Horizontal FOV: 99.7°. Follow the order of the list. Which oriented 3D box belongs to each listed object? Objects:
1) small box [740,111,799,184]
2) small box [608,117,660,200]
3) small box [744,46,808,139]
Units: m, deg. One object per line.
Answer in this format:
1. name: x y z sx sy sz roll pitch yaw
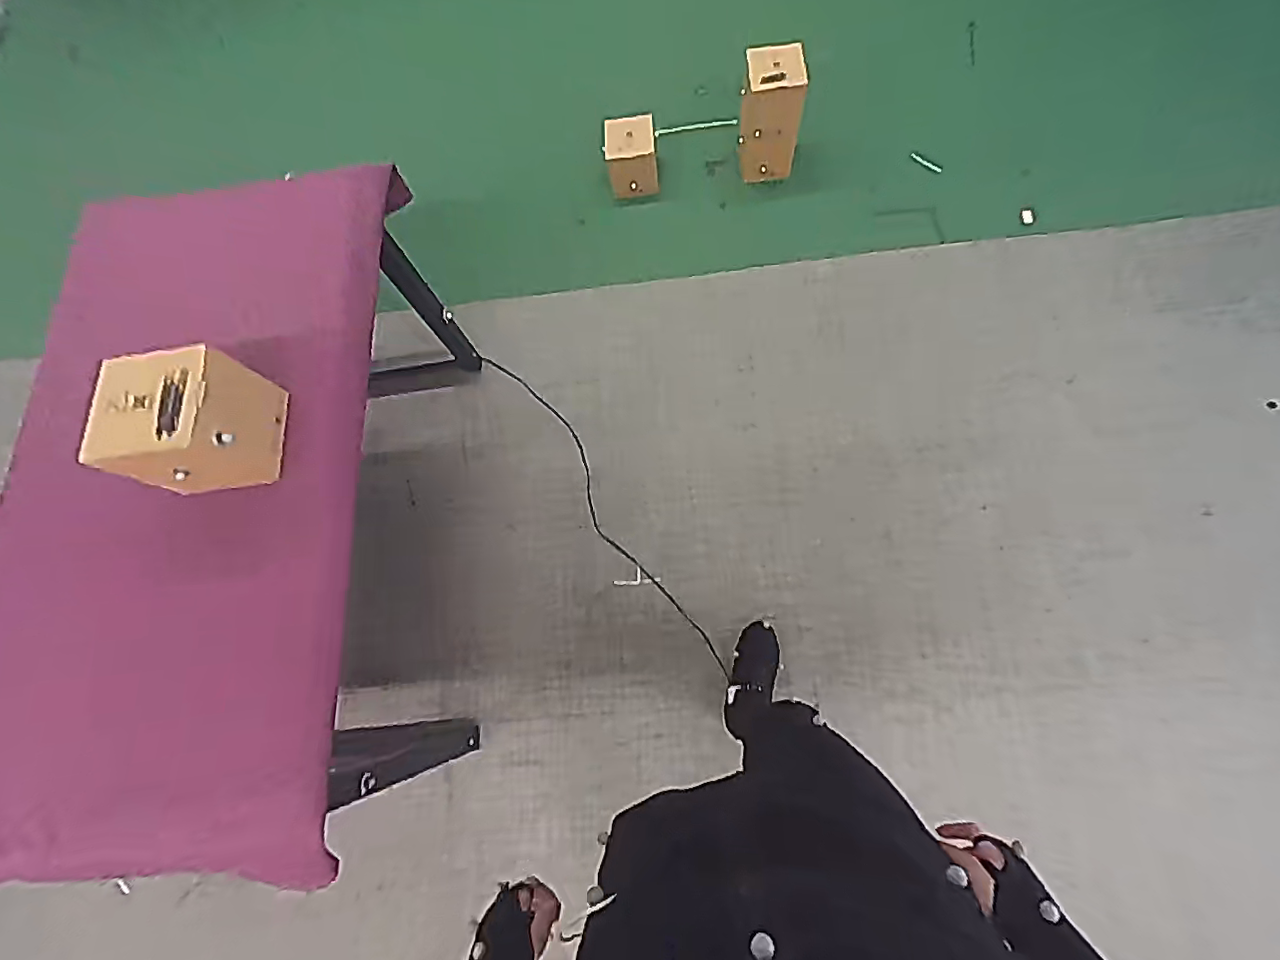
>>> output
1. small box: 0.435 -1.148 1.843 0.168 0.176 0.179 -3 72 5
2. small box: -0.019 -1.114 1.880 0.168 0.176 0.179 -4 72 6
3. small box: 0.419 -1.197 1.687 0.168 0.176 0.179 -3 72 4
